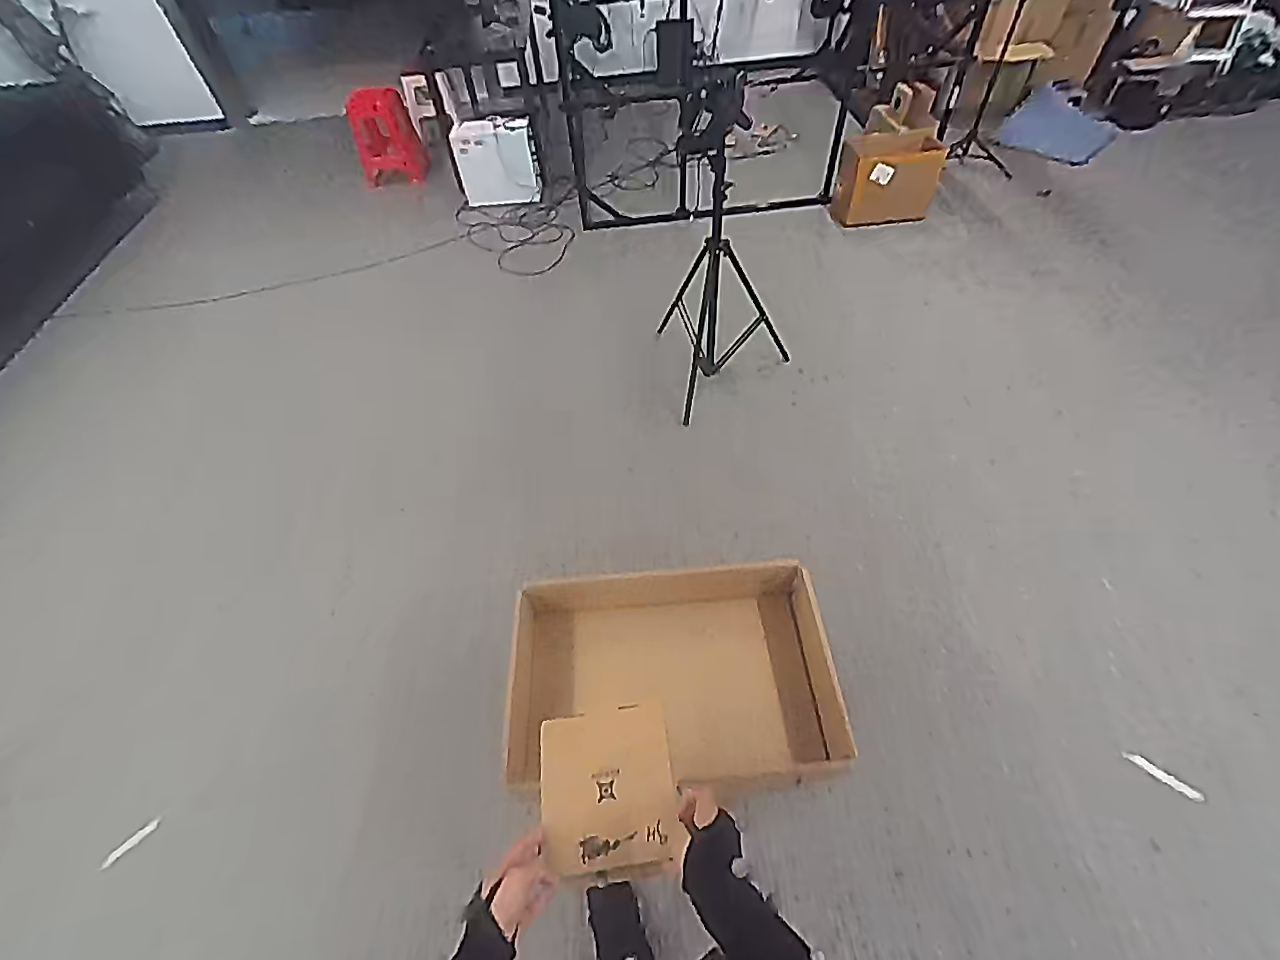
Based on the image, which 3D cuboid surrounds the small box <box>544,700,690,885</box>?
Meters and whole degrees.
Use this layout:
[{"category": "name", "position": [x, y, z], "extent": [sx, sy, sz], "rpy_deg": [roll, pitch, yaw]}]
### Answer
[{"category": "small box", "position": [-0.030, 0.426, 0.734], "extent": [0.168, 0.176, 0.179], "rpy_deg": [-11, 50, 1]}]
